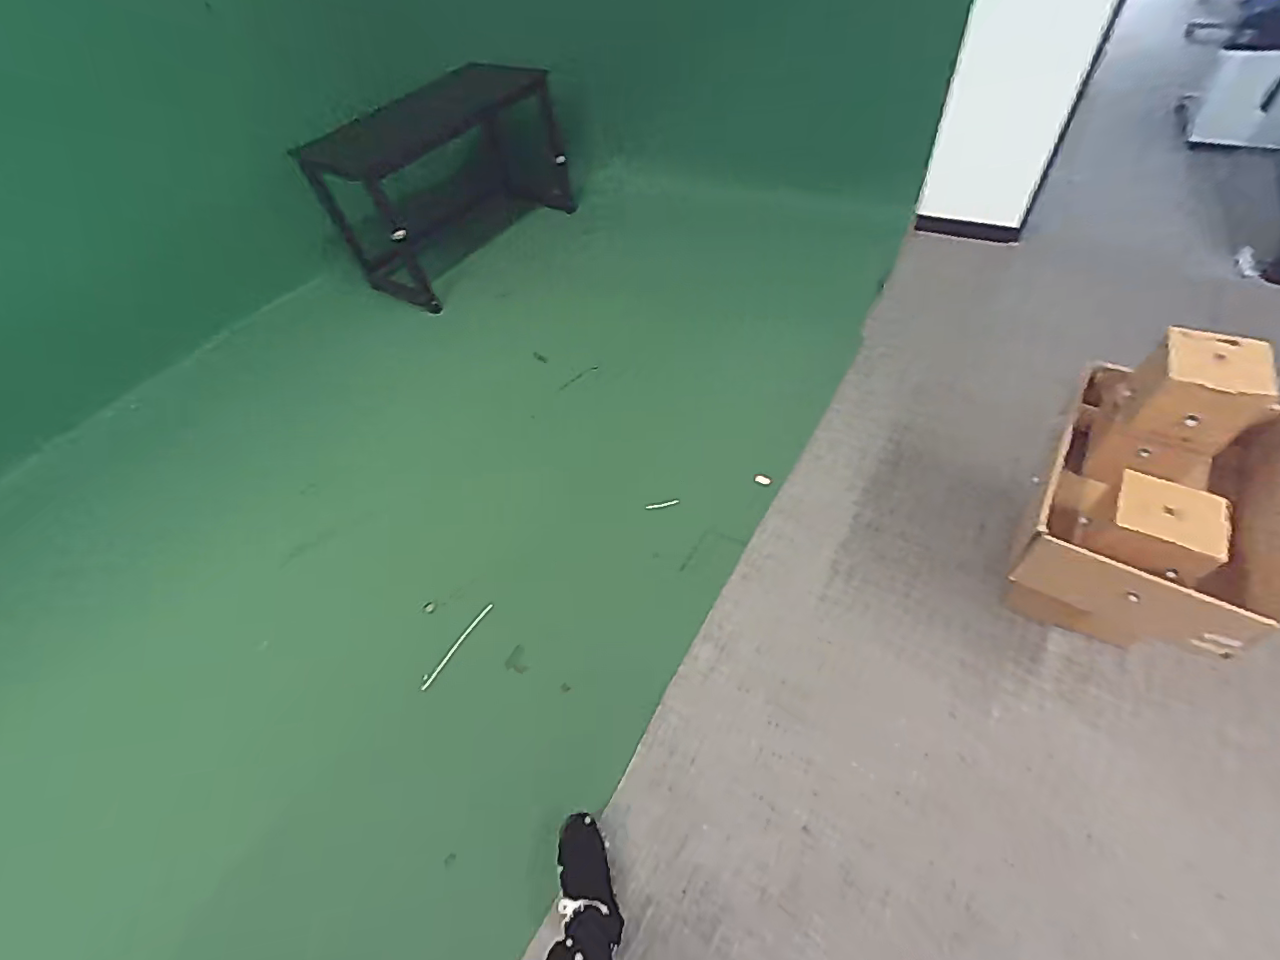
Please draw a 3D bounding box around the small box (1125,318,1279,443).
[{"bbox_3d":[1.164,-0.205,1.133,0.168,0.176,0.179,20,60,22],"label":"small box"}]
